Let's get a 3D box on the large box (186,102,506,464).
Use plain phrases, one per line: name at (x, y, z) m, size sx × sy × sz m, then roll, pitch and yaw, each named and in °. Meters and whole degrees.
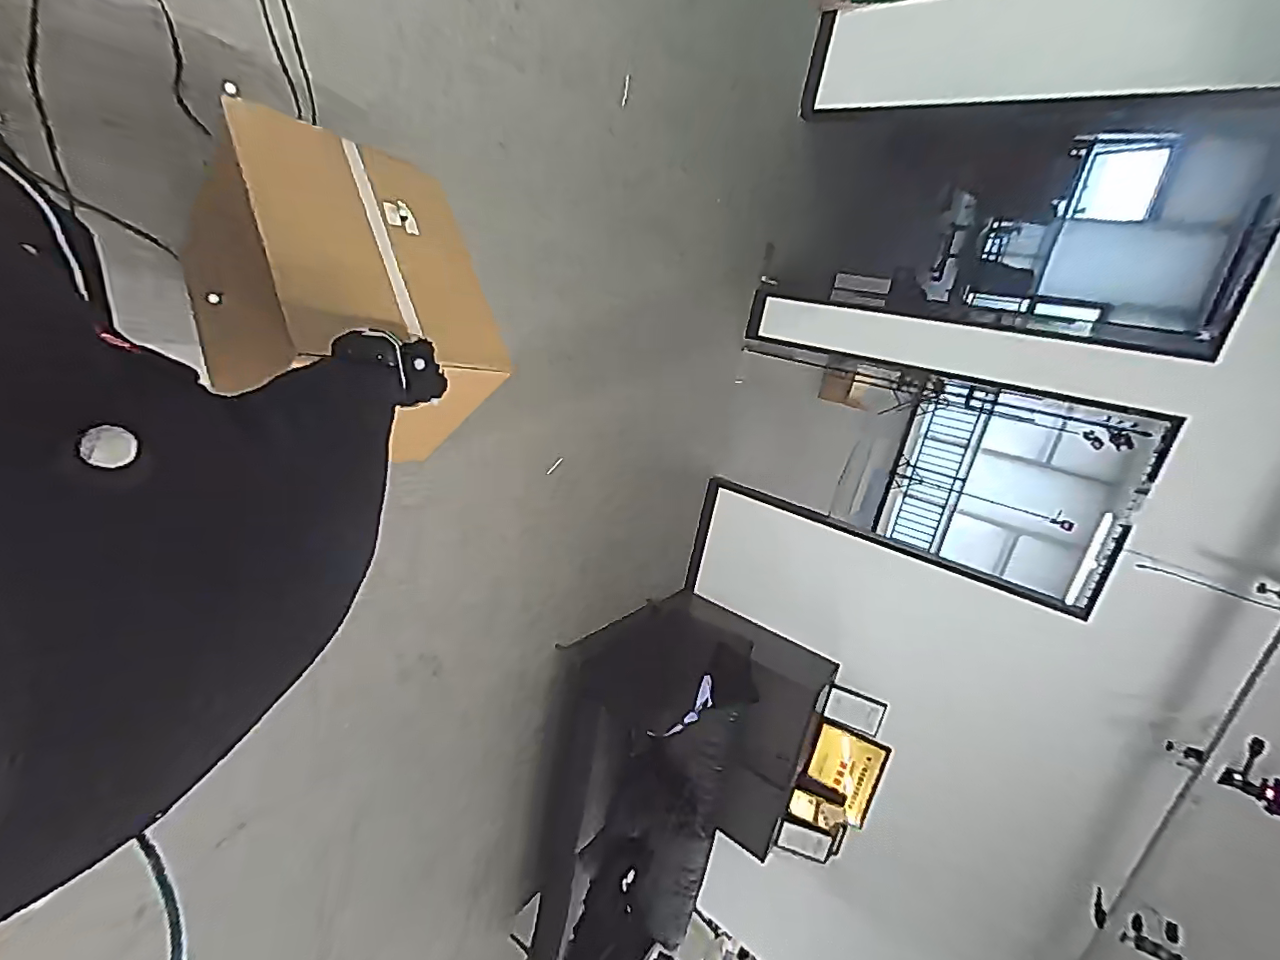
large box at (-0.487, -0.278, 0.885) m, size 0.320 × 0.408 × 0.320 m, roll -33°, pitch 165°, yaw 36°
